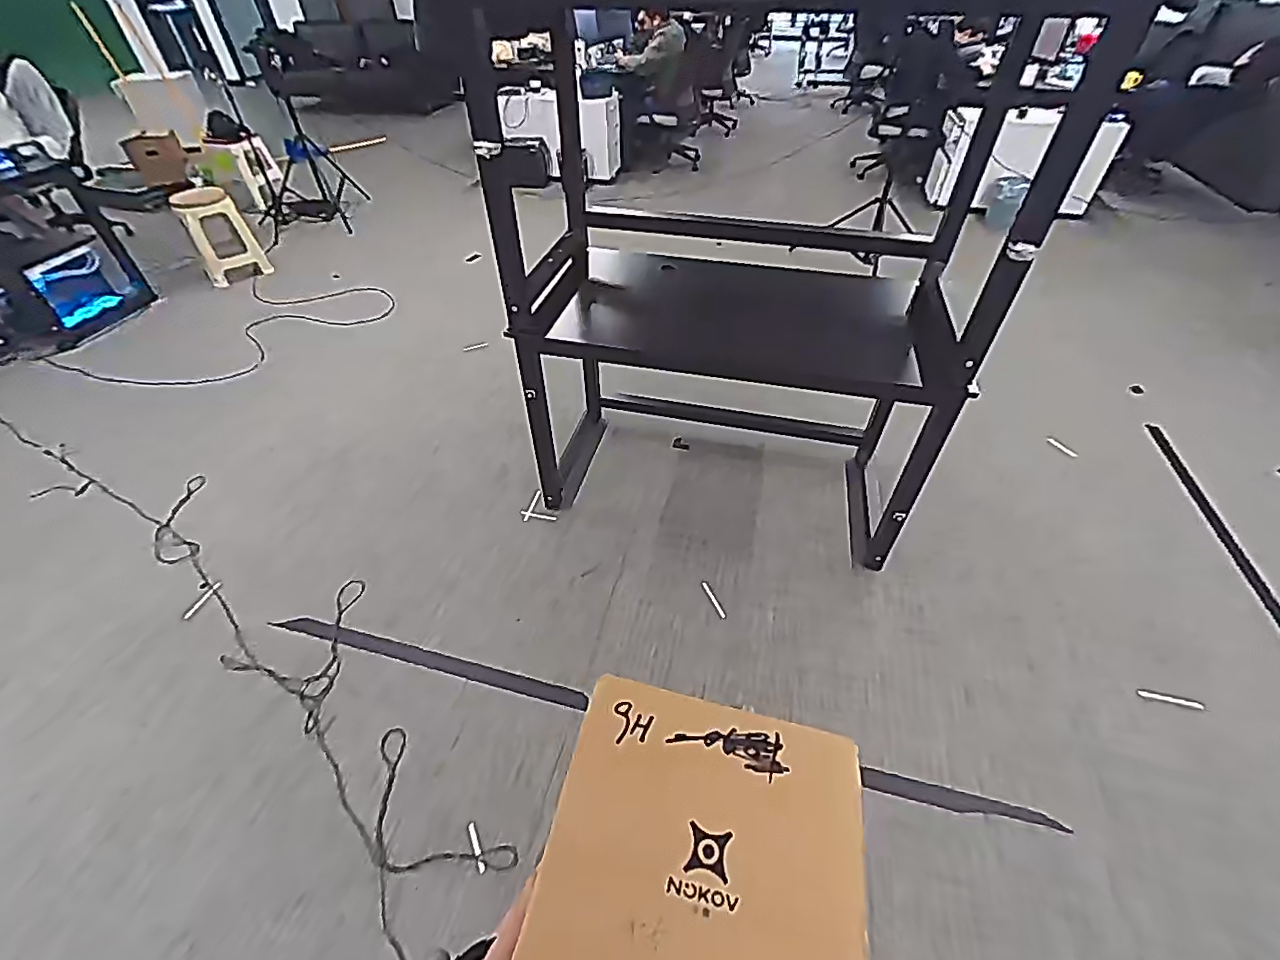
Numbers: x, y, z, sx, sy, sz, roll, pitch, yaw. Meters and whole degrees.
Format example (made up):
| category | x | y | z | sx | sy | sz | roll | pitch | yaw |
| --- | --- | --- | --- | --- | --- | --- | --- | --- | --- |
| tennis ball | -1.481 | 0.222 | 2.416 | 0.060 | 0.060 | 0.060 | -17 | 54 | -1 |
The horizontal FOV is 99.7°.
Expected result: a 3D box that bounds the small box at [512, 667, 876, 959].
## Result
| category | x | y | z | sx | sy | sz | roll | pitch | yaw |
| --- | --- | --- | --- | --- | --- | --- | --- | --- | --- |
| small box | 0.029 | 0.249 | 0.331 | 0.168 | 0.176 | 0.179 | 13 | 47 | 6 |
